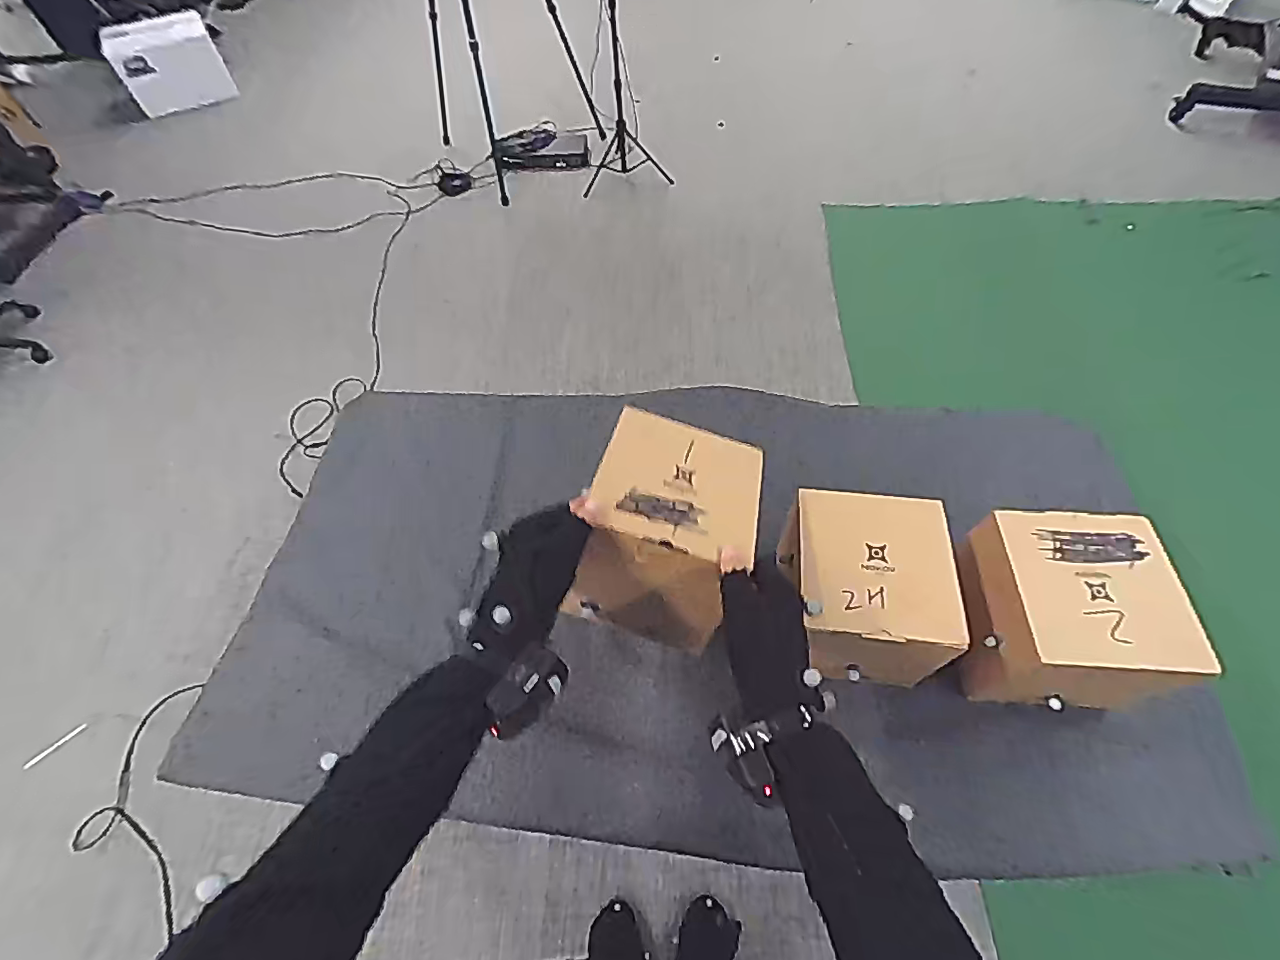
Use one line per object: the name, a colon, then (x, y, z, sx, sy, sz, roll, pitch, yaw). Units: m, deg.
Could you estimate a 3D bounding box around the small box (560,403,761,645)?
small box: (0.019, 0.052, 0.592, 0.168, 0.176, 0.179, 19, 44, 0)
